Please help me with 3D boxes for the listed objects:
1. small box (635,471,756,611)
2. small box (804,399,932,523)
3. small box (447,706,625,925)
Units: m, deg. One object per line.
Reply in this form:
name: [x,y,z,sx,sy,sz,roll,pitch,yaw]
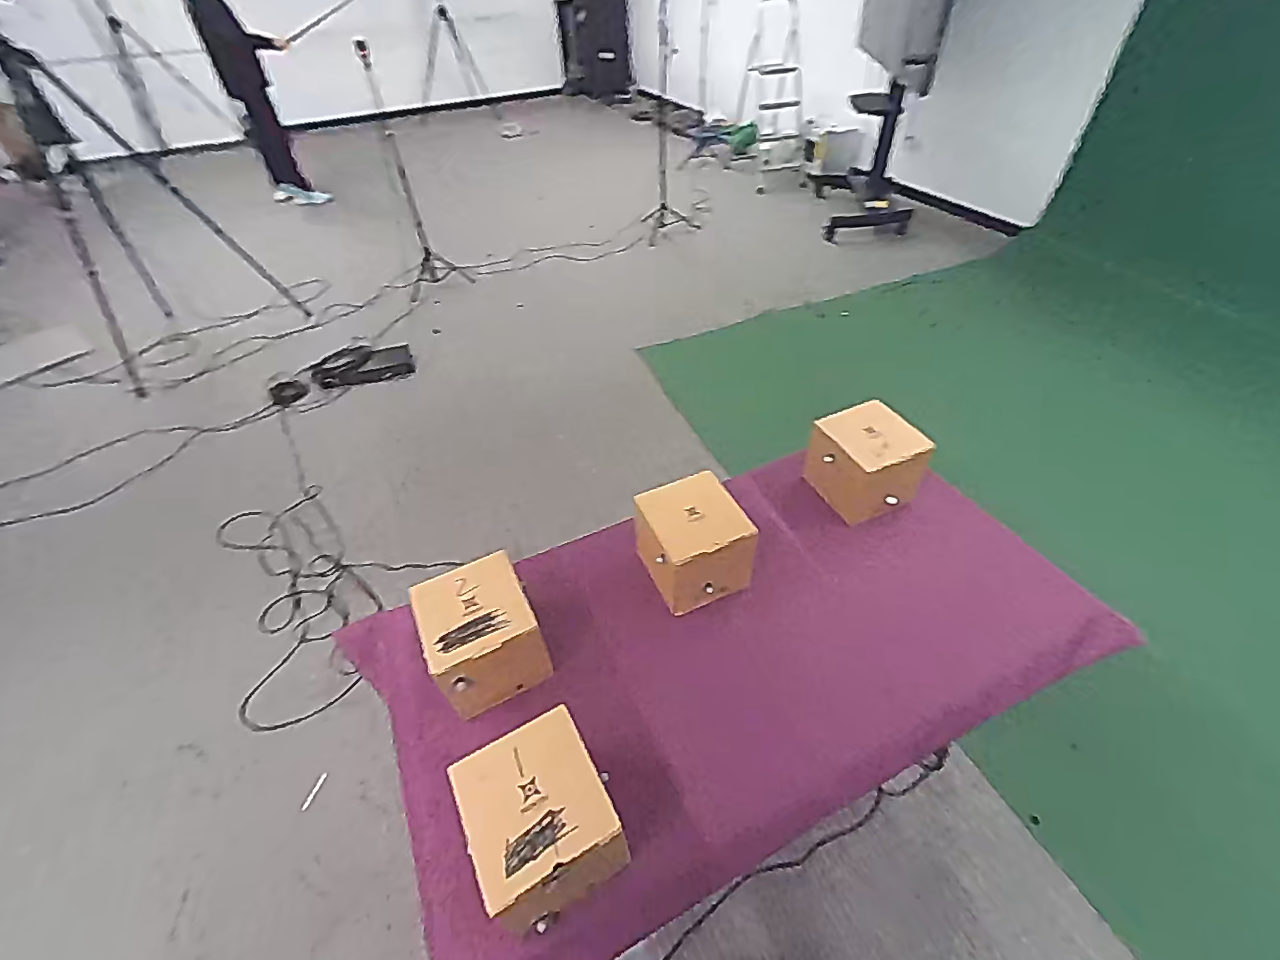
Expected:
small box: [0.097,0.116,1.033,0.168,0.176,0.179,-19,48,-16]
small box: [0.476,-0.040,1.161,0.168,0.176,0.179,-20,48,-13]
small box: [-0.130,0.443,0.712,0.168,0.176,0.179,-23,47,-19]
